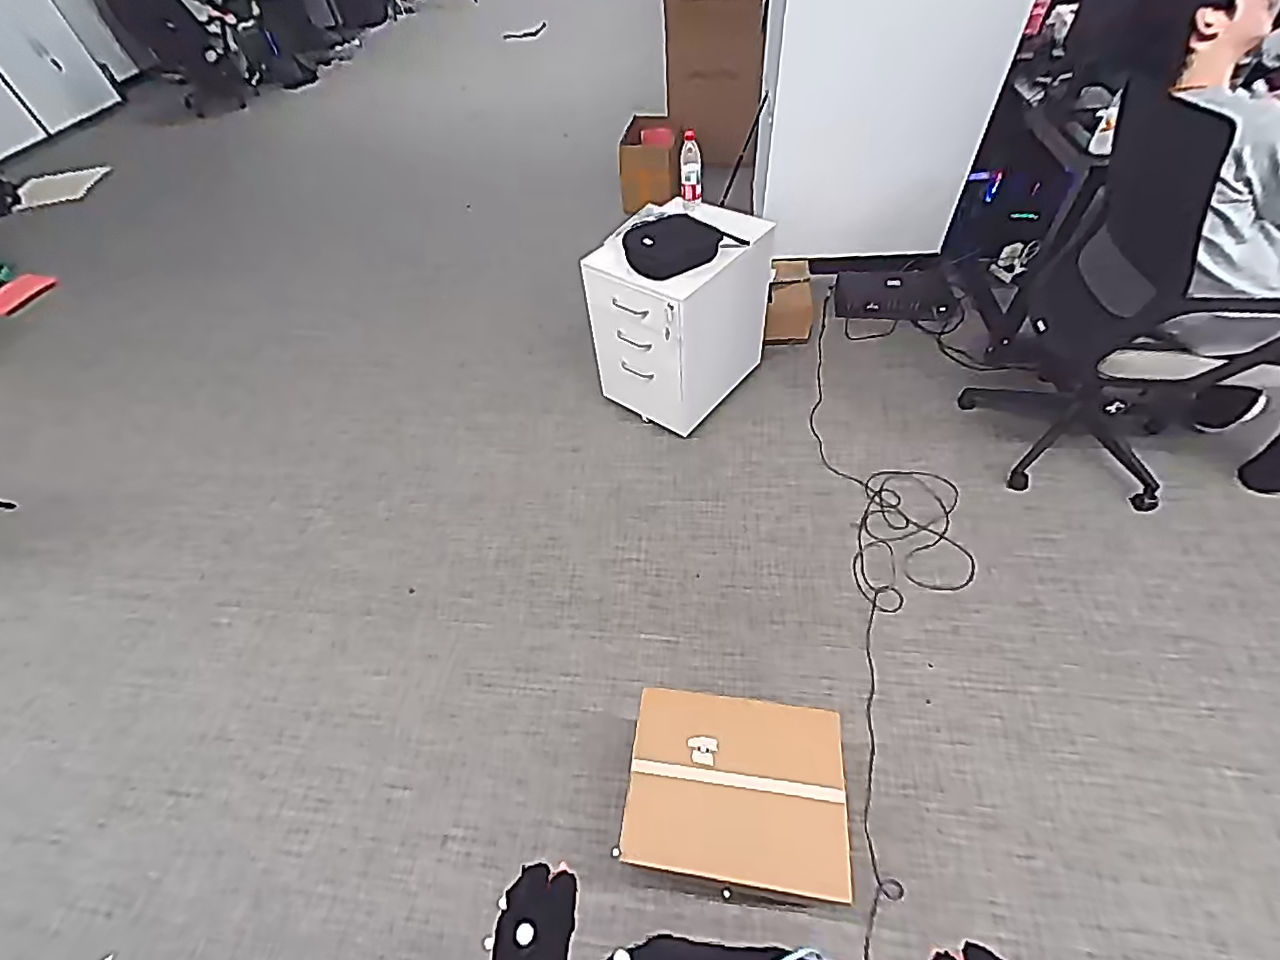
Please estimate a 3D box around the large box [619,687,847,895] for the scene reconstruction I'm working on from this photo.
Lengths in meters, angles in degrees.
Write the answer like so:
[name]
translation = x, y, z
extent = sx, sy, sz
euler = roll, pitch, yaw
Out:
[large box]
translation = 0.192, 0.666, 1.154
extent = 0.408, 0.320, 0.320
euler = 4, 51, 9
